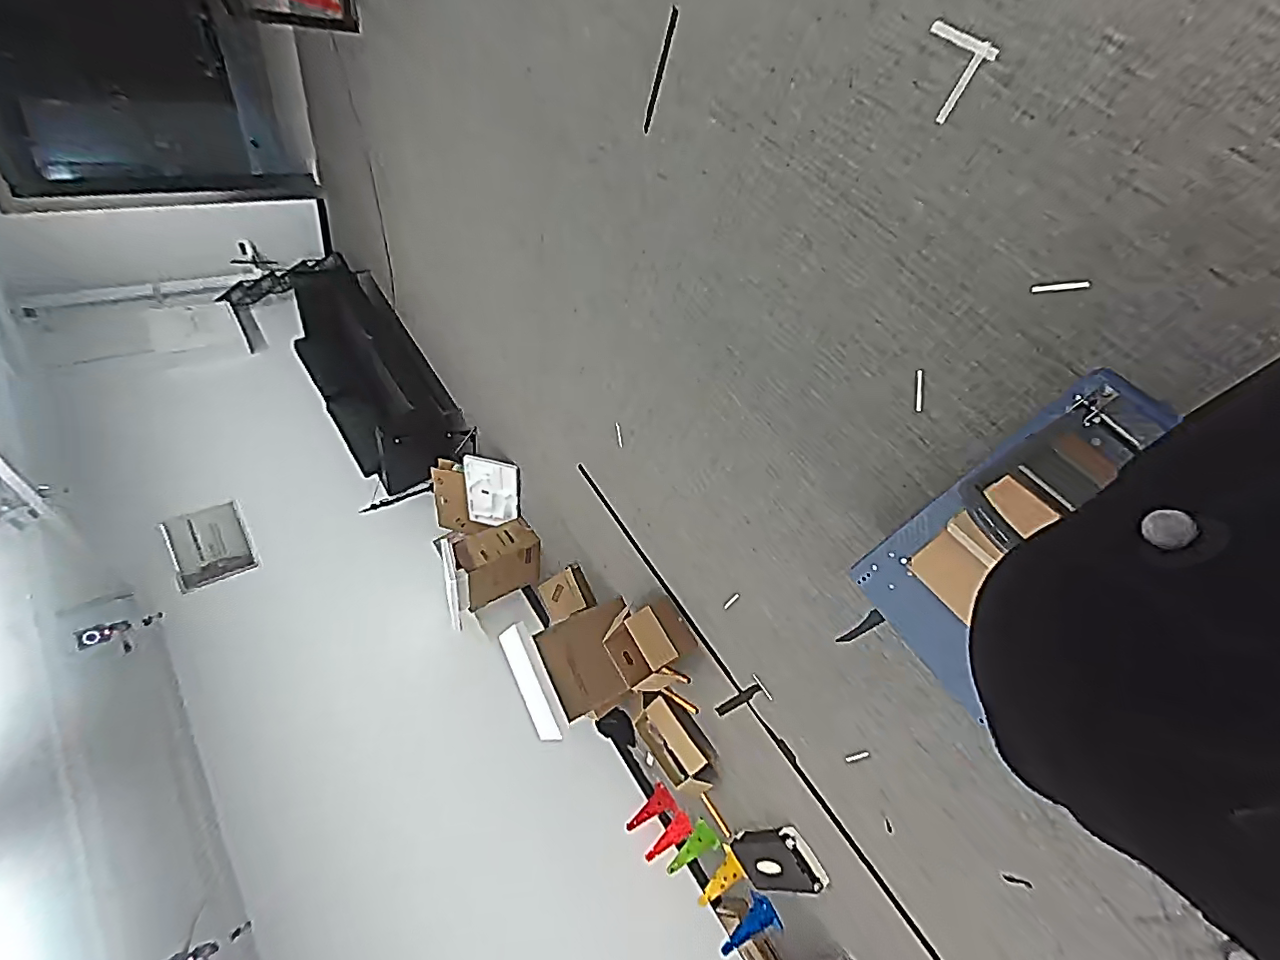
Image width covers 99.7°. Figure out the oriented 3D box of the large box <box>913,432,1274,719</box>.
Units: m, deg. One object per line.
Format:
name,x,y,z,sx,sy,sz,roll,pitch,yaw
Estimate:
large box,0.865,0.173,1.074,0.408,0.320,0.320,51,143,26
